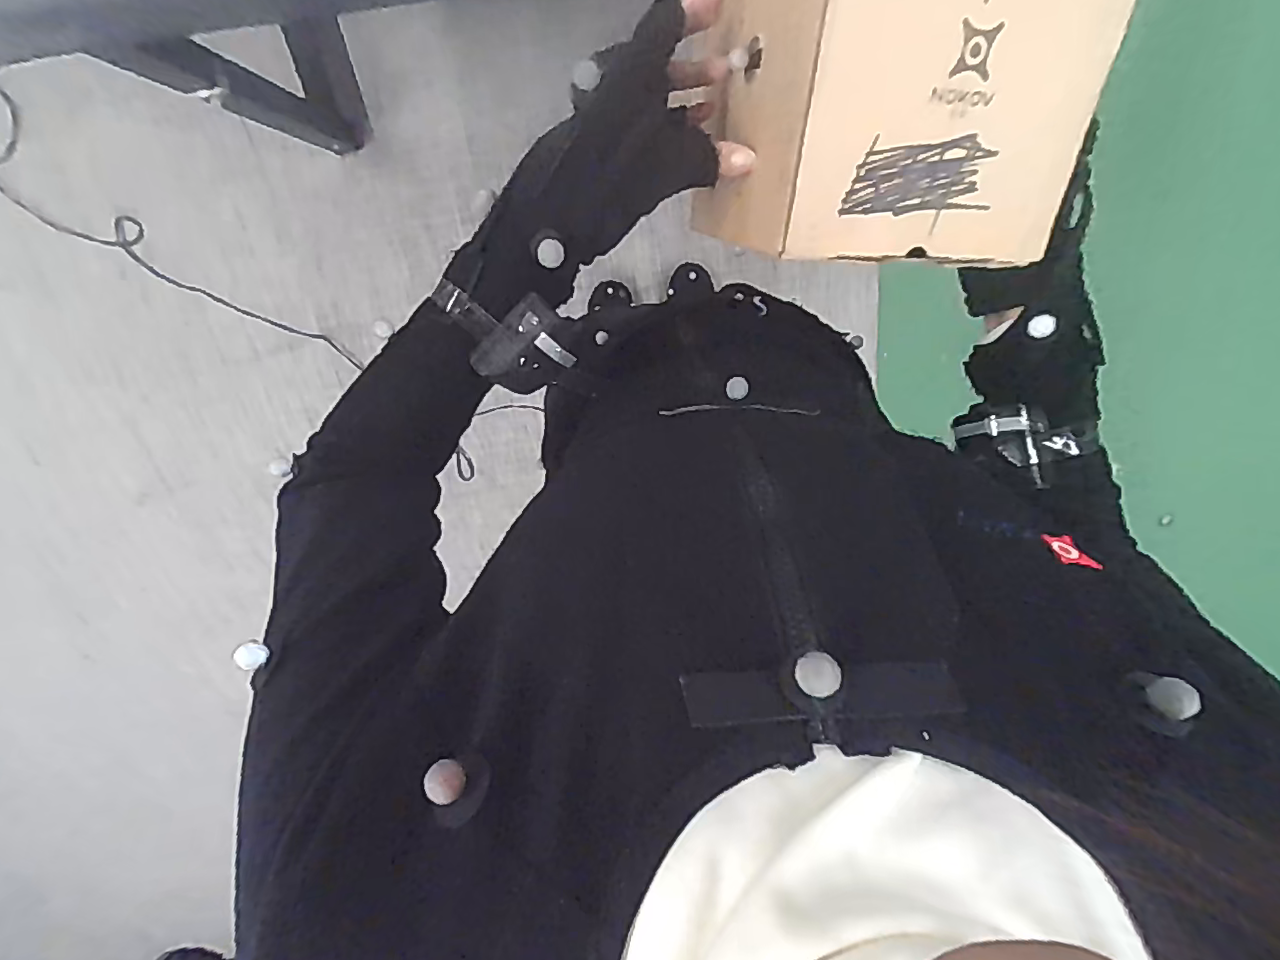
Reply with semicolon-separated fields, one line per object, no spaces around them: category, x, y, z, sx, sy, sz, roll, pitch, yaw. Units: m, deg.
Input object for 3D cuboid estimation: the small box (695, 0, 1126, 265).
small box;0.141;-0.243;0.338;0.168;0.176;0.179;-3;119;-13
